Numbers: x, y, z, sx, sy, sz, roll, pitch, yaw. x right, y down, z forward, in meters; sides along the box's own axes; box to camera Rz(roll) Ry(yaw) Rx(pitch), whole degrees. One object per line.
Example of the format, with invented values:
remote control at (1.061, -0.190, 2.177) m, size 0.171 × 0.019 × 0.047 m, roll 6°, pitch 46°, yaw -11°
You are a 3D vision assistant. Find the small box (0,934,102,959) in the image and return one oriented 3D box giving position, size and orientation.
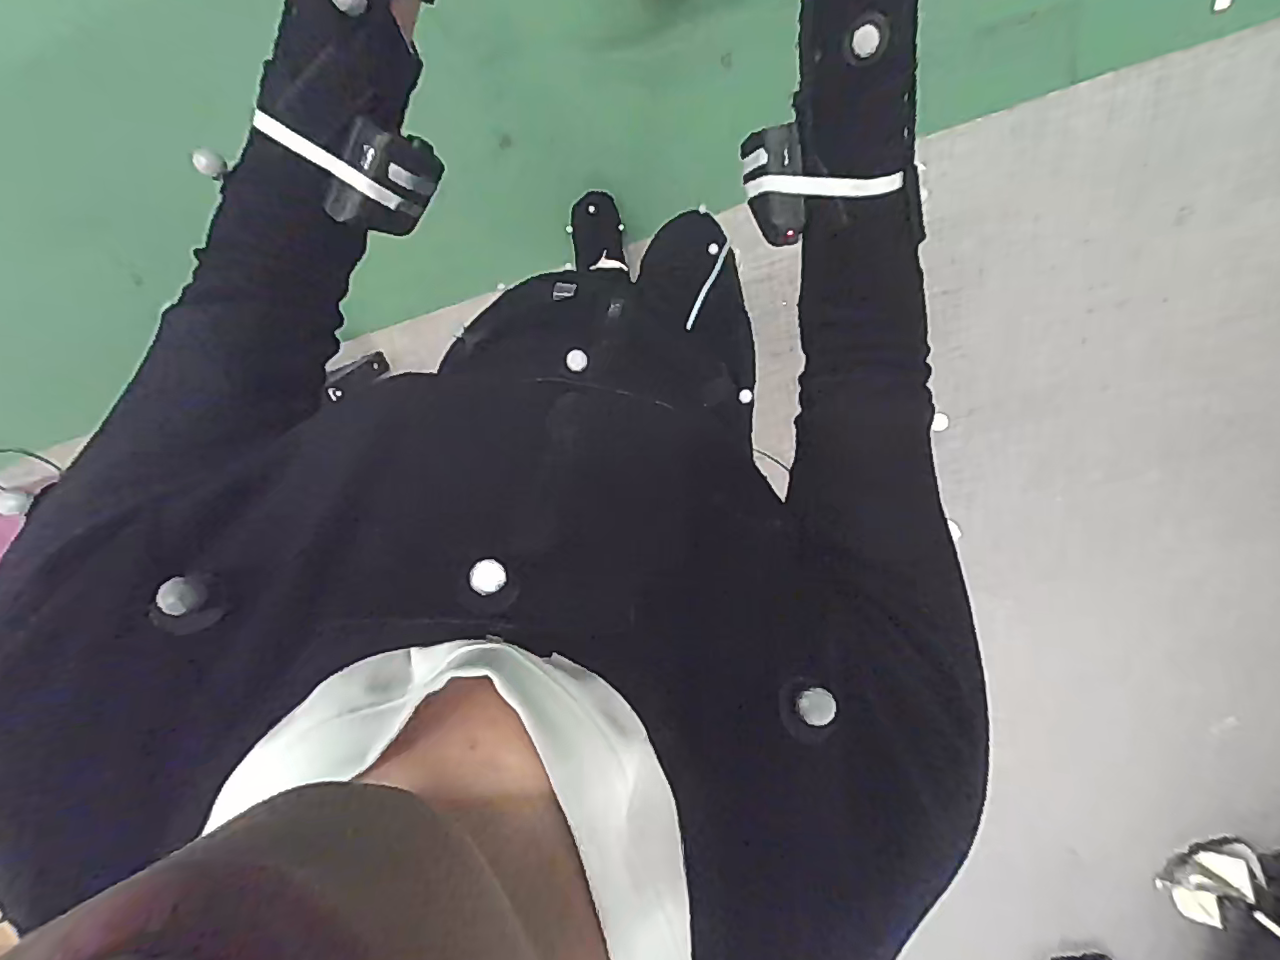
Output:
small box at (-0.833, 0.723, 0.695) m, size 0.179 × 0.176 × 0.168 m, roll -13°, pitch 118°, yaw 9°
